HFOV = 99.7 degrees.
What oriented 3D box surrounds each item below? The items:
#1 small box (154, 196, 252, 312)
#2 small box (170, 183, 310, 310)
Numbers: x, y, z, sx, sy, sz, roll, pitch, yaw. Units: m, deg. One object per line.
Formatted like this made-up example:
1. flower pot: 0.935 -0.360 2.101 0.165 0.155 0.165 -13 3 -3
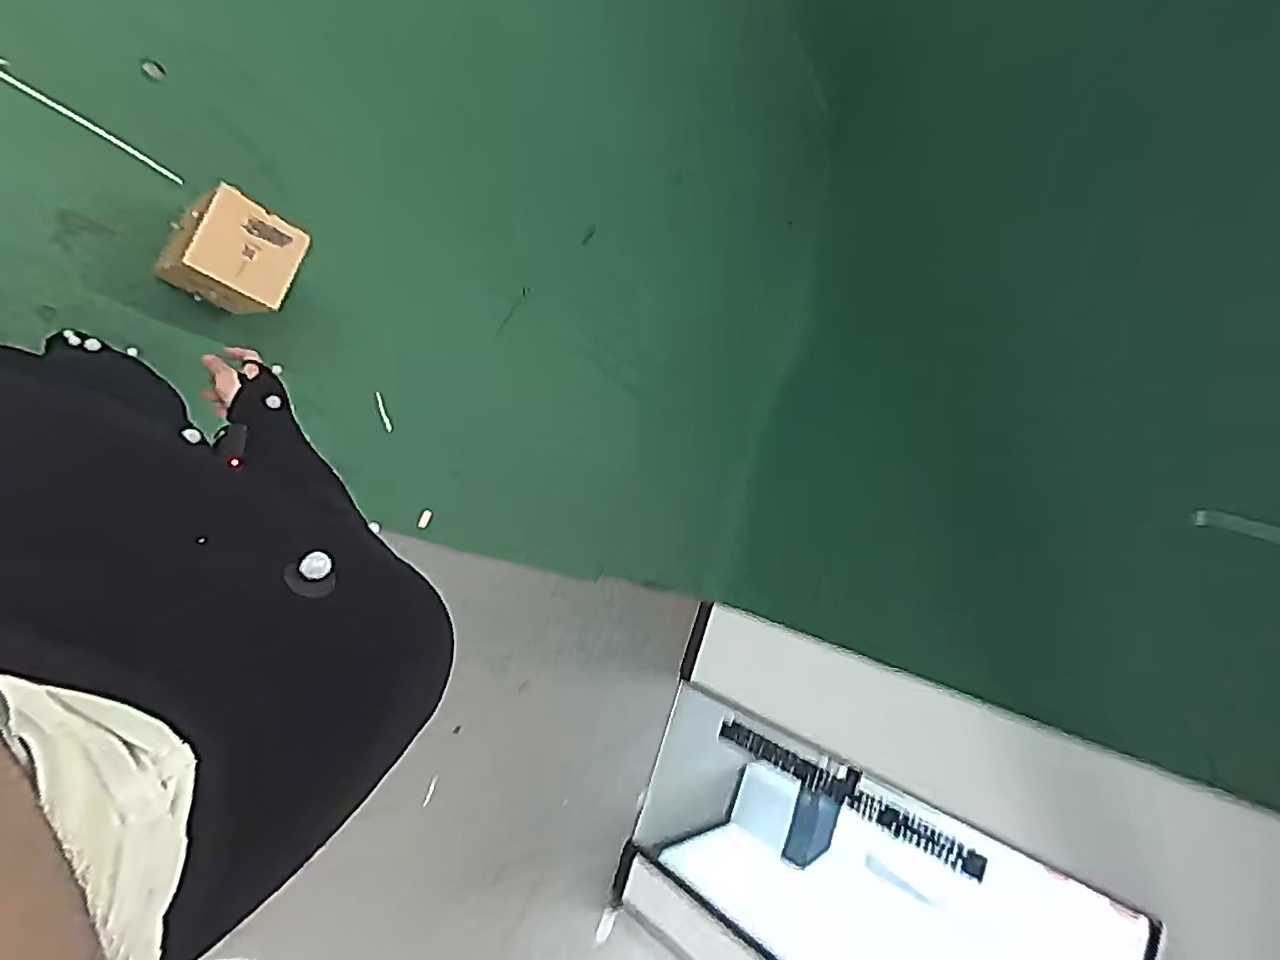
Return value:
1. small box: -0.952 -0.500 1.219 0.168 0.176 0.179 30 78 -49
2. small box: -0.827 -0.471 1.116 0.168 0.176 0.179 29 78 -49
